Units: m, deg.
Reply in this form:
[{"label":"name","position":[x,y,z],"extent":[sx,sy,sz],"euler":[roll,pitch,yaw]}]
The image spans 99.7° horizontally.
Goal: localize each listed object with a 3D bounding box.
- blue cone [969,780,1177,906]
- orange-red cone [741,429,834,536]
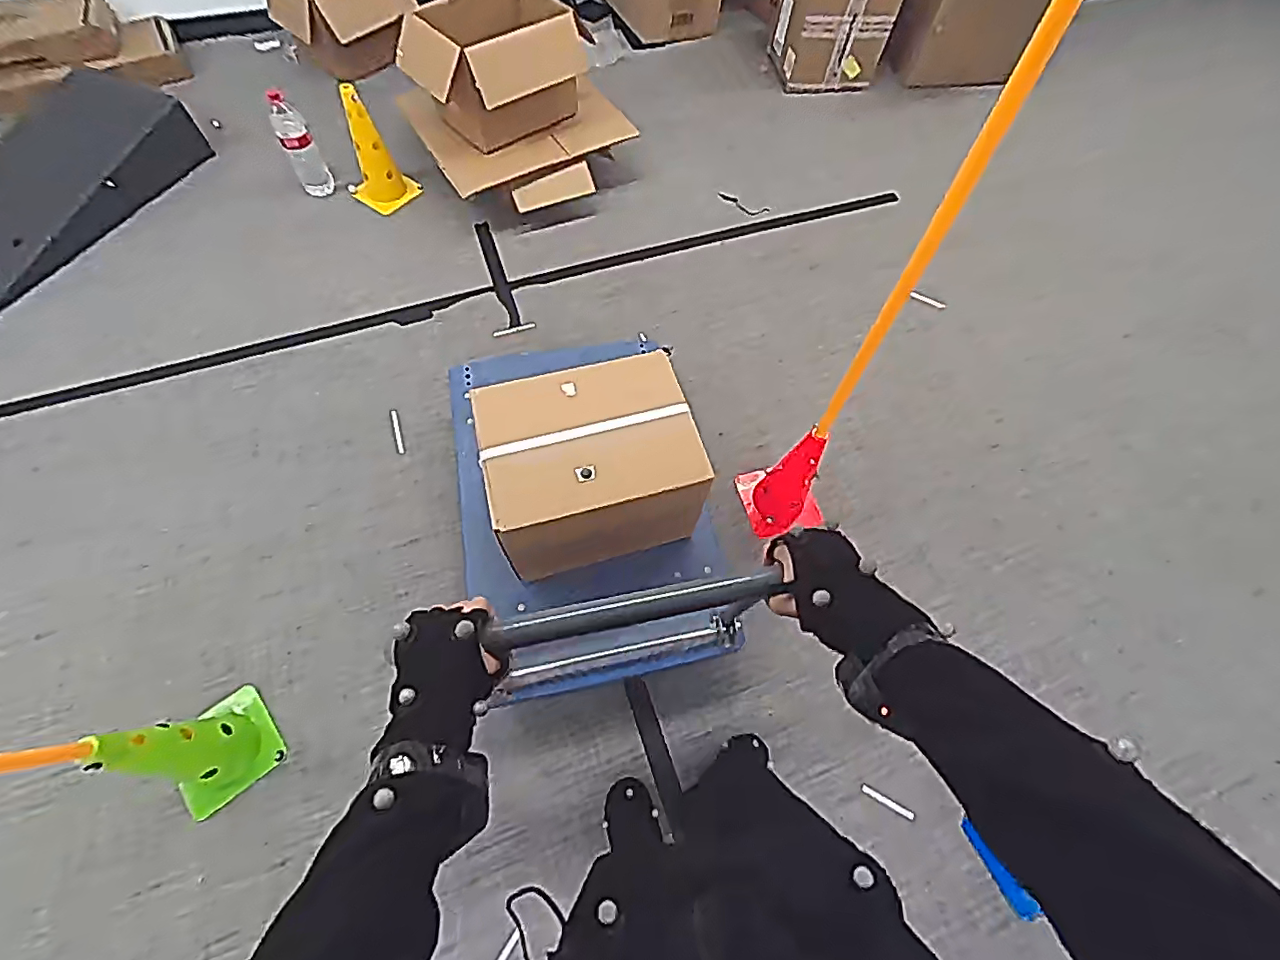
[{"label":"blue cone","position":[0.839,0.707,1.024],"extent":[0.193,0.380,0.192],"euler":[-21,65,-13]},{"label":"orange-red cone","position":[0.406,-0.022,1.357],"extent":[0.199,0.360,0.198],"euler":[-11,65,-9]}]
